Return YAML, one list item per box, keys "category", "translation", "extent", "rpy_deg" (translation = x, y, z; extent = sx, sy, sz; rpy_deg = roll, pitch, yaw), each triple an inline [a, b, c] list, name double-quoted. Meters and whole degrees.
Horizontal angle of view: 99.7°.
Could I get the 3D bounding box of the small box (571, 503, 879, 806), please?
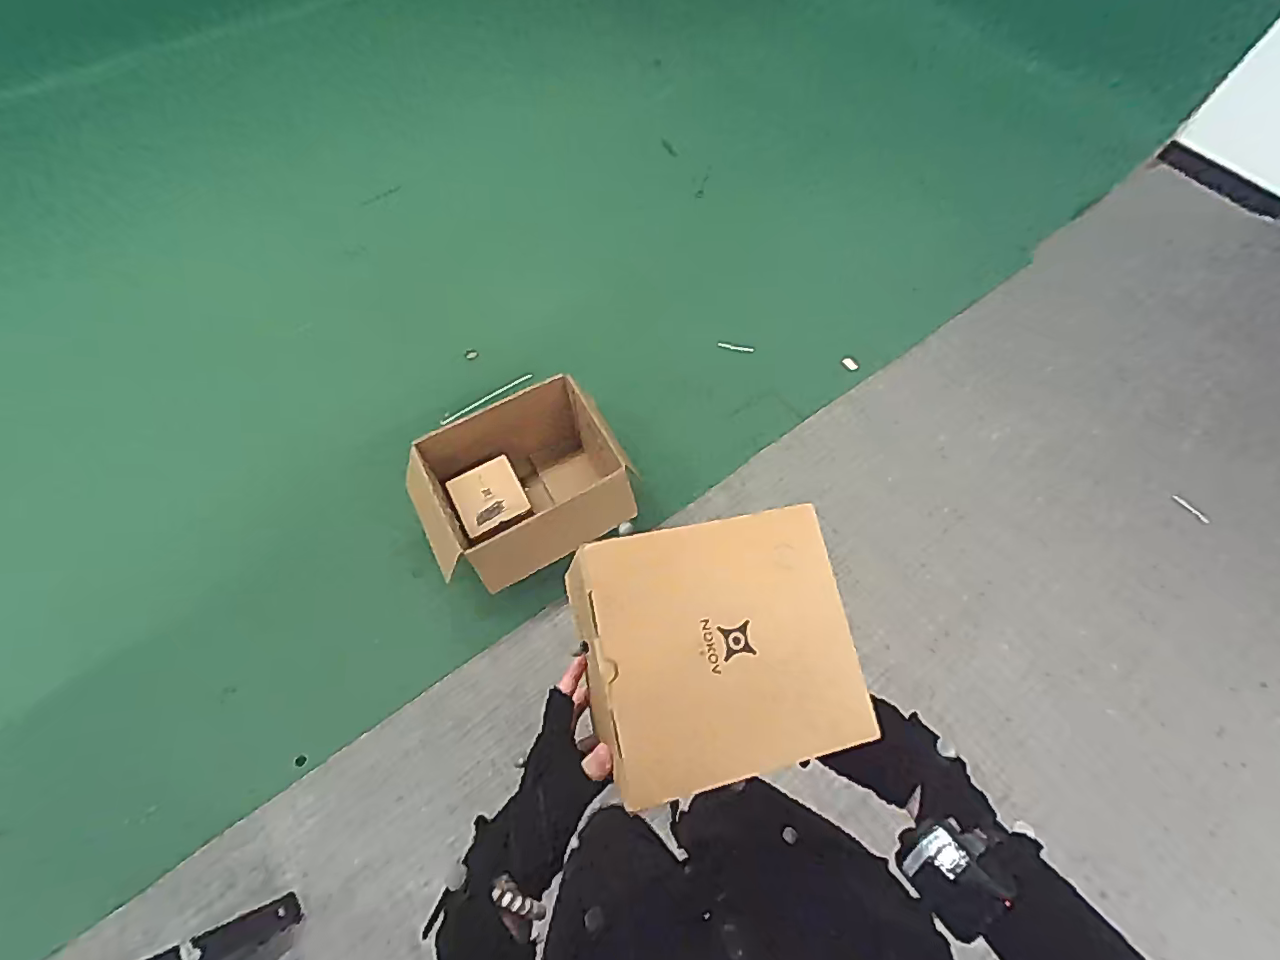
- category: "small box"
  translation: [0.048, 0.126, 0.434]
  extent: [0.179, 0.176, 0.168]
  rpy_deg: [-10, 76, -13]
